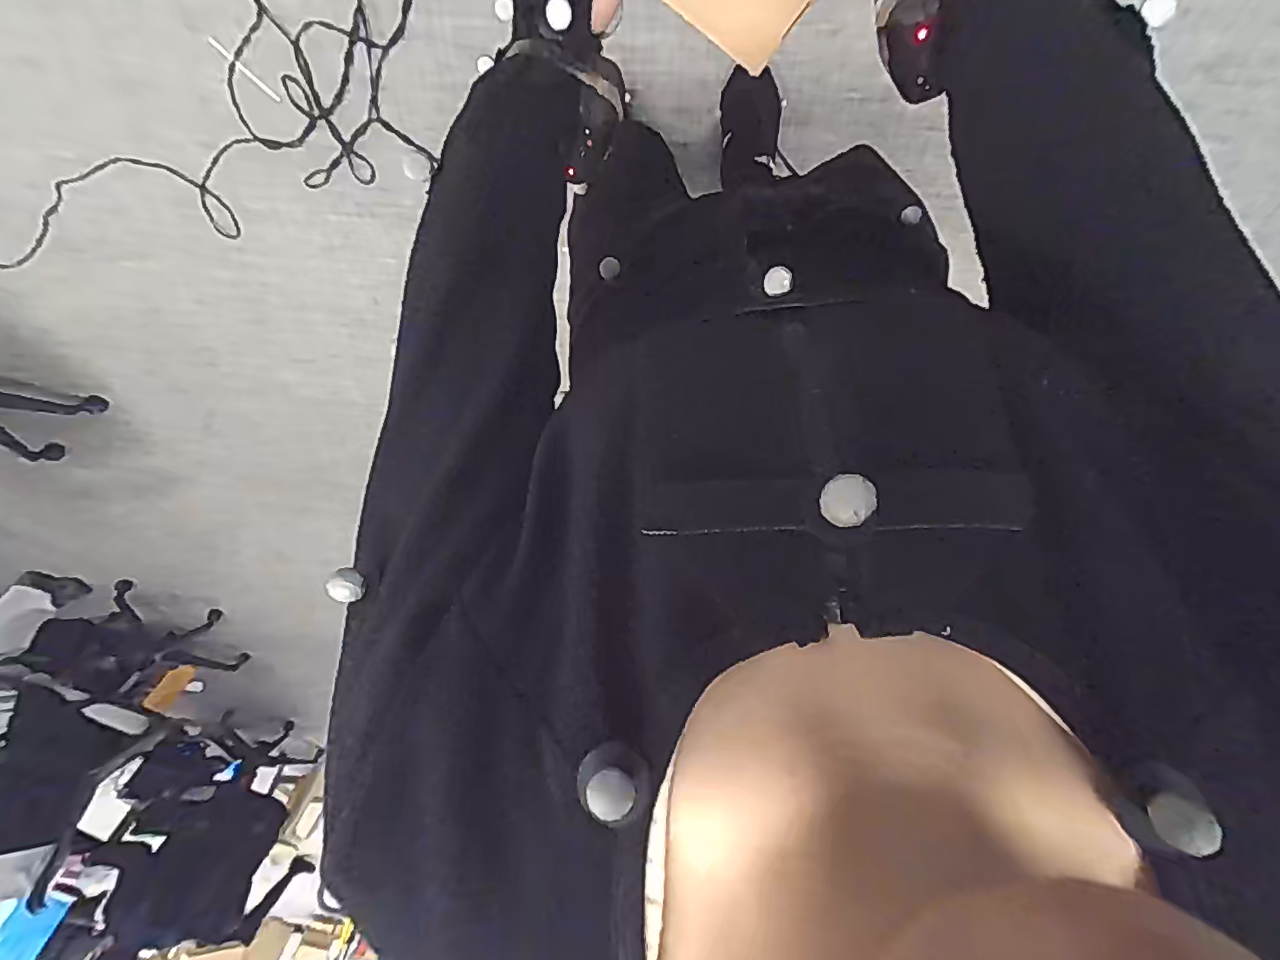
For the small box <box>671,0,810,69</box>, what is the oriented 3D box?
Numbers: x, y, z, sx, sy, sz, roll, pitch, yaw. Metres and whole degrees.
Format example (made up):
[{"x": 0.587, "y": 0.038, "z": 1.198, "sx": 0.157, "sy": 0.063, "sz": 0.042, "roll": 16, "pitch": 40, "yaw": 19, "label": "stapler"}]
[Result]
[{"x": 0.071, "y": -0.472, "z": 0.397, "sx": 0.179, "sy": 0.176, "sz": 0.168, "roll": 17, "pitch": 146, "yaw": -28, "label": "small box"}]
